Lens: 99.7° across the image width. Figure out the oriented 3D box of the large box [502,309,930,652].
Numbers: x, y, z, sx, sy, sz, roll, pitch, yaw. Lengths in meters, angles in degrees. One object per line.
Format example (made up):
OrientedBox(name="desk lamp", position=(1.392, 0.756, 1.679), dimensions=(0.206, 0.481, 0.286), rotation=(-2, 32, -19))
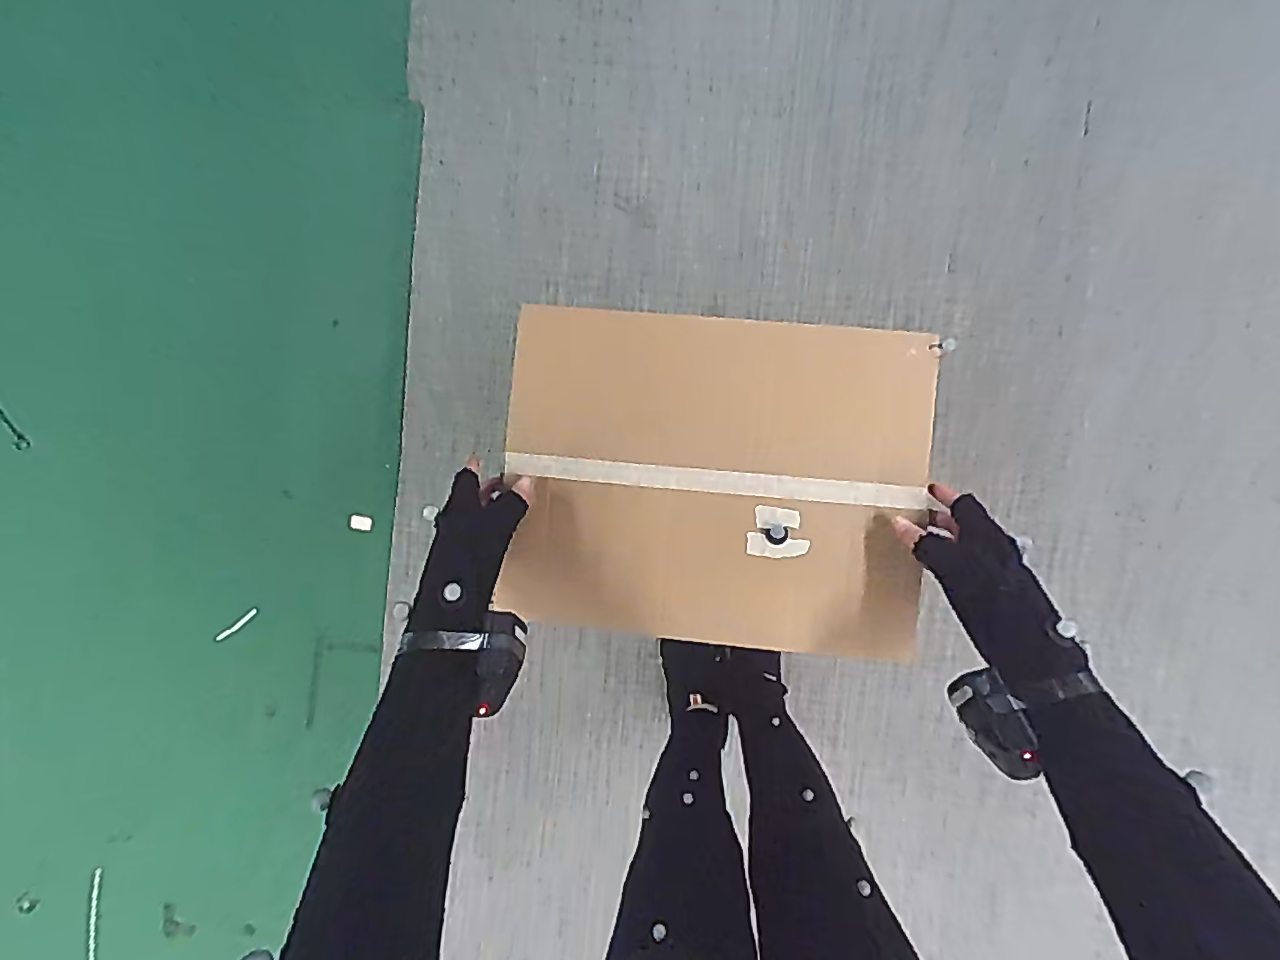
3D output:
OrientedBox(name="large box", position=(0.078, 0.003, 0.677), dimensions=(0.408, 0.320, 0.320), rotation=(6, 89, 3))
